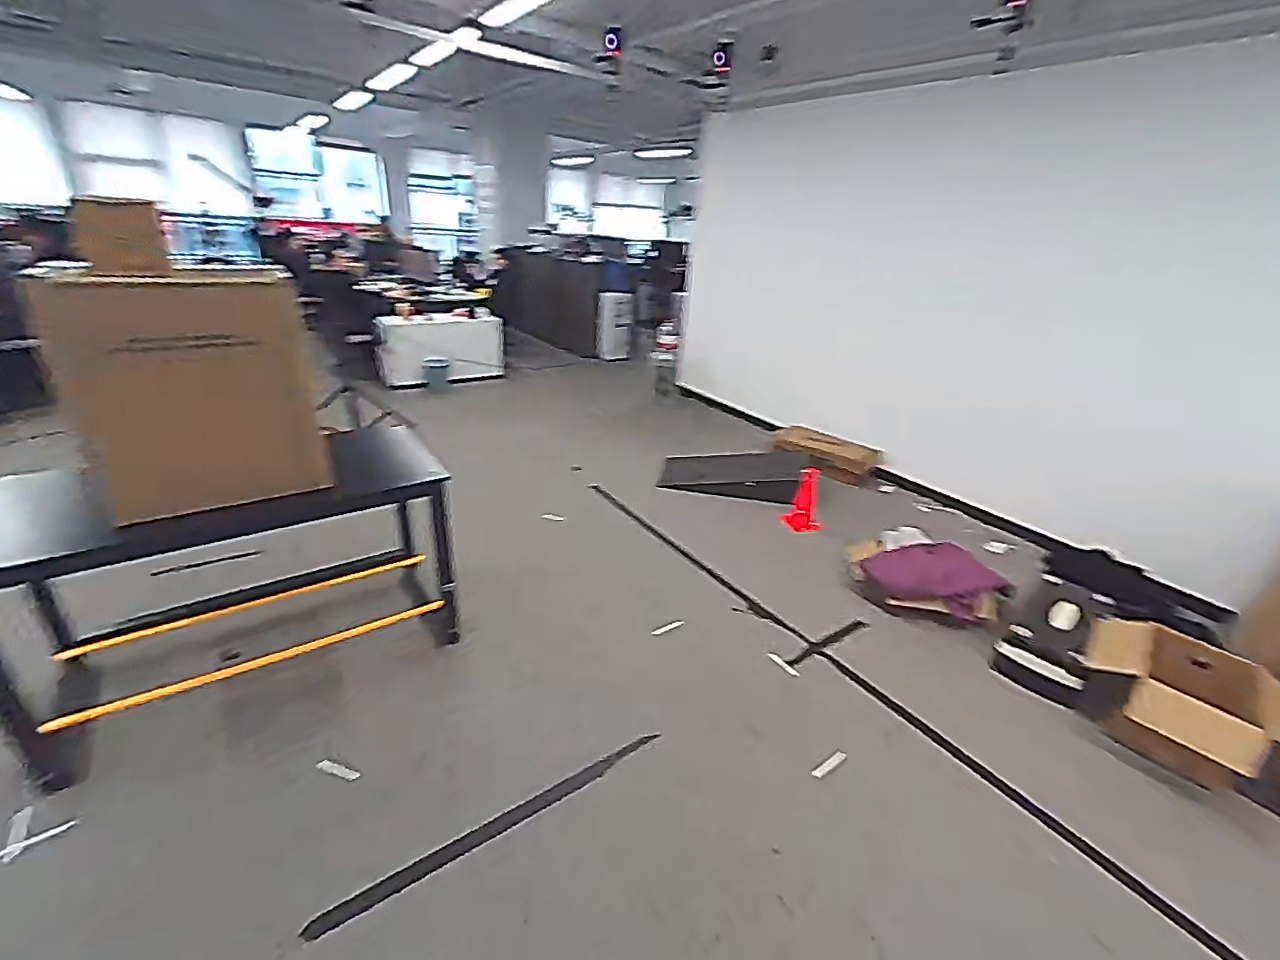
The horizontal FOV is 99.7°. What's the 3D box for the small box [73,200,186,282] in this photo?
[{"bbox_3d":[-1.271,-0.600,1.360,0.168,0.176,0.179,-13,33,-33],"label":"small box"}]
